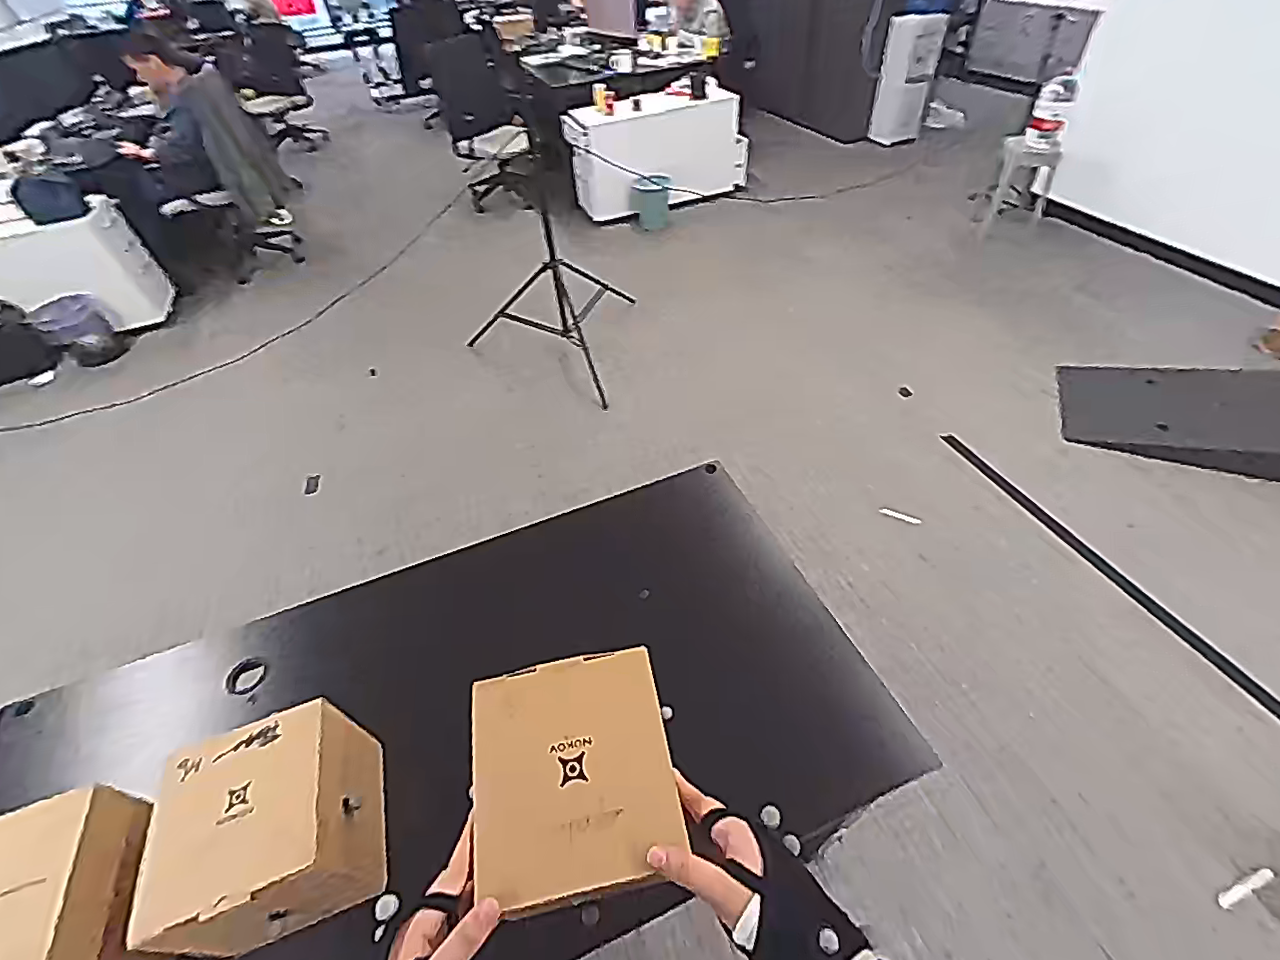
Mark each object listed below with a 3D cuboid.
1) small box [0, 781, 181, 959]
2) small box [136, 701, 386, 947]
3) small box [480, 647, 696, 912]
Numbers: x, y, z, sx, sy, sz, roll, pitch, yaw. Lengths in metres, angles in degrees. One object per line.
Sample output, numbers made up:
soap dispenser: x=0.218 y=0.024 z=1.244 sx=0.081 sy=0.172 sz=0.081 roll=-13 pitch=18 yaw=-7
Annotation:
small box: x=-0.624 y=0.458 z=0.572 sx=0.179 sy=0.176 sz=0.168 roll=-18 pitch=49 yaw=-13
small box: x=-0.406 y=0.391 z=0.617 sx=0.168 sy=0.176 sz=0.179 roll=-18 pitch=49 yaw=-12
small box: x=-0.050 y=0.288 z=0.520 sx=0.168 sy=0.176 sz=0.179 roll=-11 pitch=53 yaw=-5
